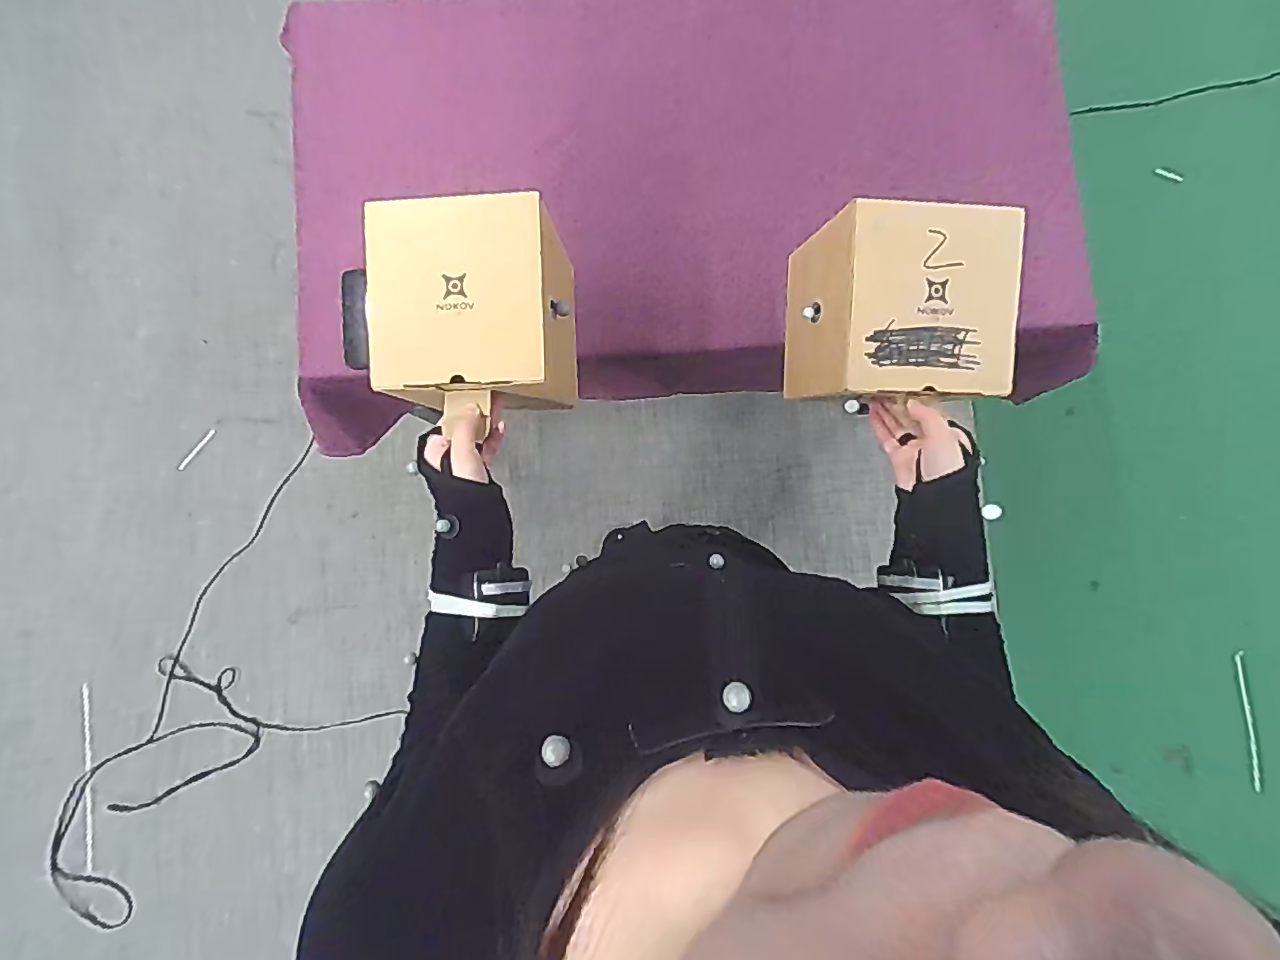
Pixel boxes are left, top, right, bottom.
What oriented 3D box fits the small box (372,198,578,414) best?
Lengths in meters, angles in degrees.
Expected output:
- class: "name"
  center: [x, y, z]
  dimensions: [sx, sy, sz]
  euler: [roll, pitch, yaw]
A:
- class: "small box"
  center: [-0.161, -0.169, 0.574]
  dimensions: [0.168, 0.176, 0.179]
  euler: [-2, 90, 3]
